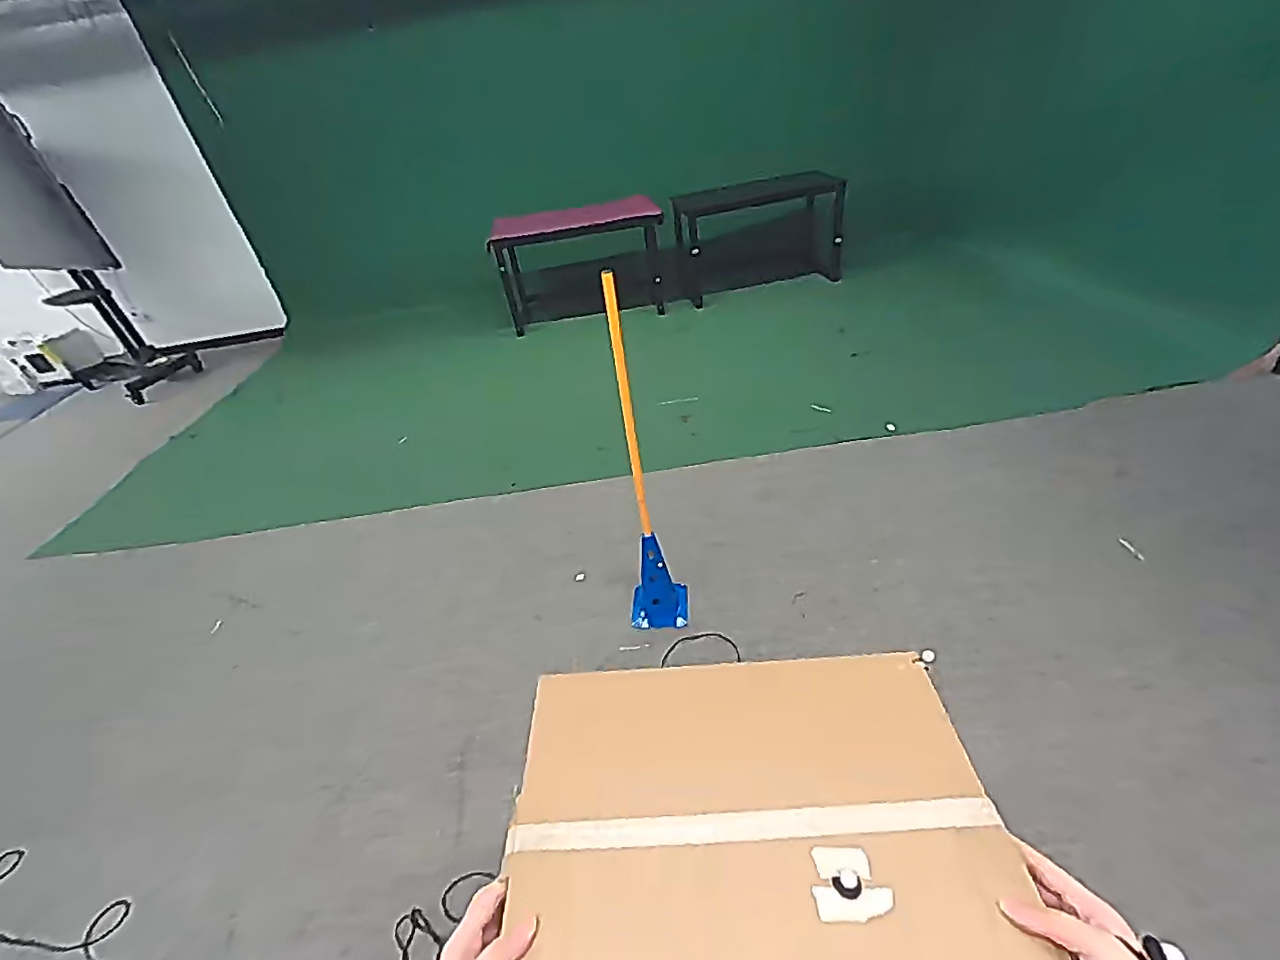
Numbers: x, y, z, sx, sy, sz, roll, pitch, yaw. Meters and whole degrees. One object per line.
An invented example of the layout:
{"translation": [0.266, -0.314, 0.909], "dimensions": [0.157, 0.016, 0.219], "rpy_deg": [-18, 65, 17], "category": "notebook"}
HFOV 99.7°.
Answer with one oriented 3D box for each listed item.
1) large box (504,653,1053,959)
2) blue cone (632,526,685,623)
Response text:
{"translation": [0.101, 0.411, 0.555], "dimensions": [0.408, 0.320, 0.320], "rpy_deg": [-4, 38, 2], "category": "large box"}
{"translation": [0.048, 0.317, 1.883], "dimensions": [0.193, 0.380, 0.192], "rpy_deg": [-3, 36, 8], "category": "blue cone"}
